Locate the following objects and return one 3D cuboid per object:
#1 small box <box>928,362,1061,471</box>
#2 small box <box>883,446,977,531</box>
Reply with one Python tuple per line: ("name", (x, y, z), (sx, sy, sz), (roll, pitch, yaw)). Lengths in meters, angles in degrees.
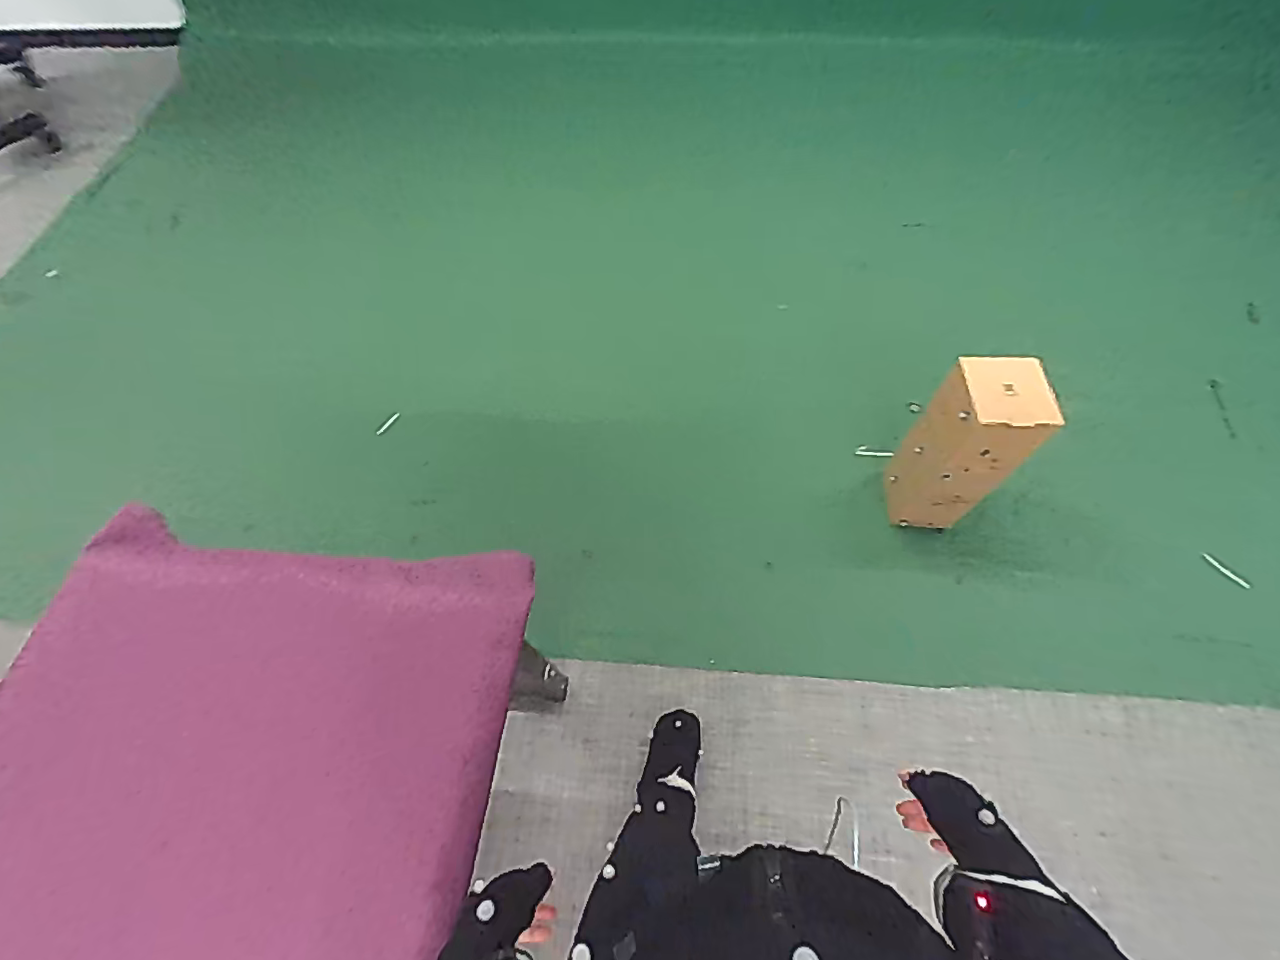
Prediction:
("small box", (0.765, -0.139, 1.193), (0.168, 0.176, 0.179), (1, 61, 3))
("small box", (0.781, 0.027, 1.476), (0.168, 0.176, 0.179), (4, 61, 4))
